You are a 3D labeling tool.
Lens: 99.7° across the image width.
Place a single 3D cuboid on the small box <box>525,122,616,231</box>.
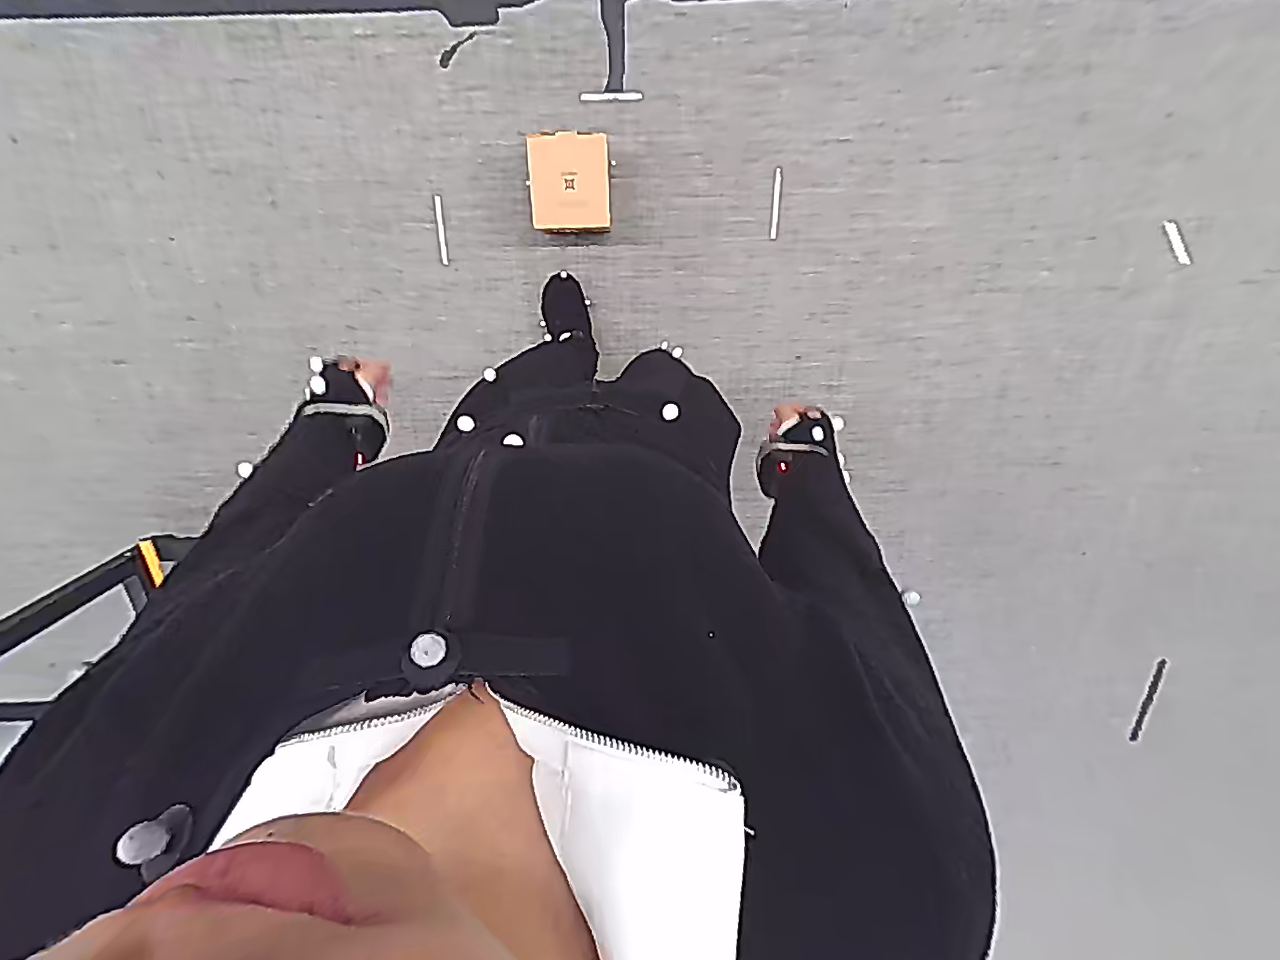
[{"bbox_3d":[-0.135,-0.614,1.110,0.168,0.176,0.179,-2,113,0],"label":"small box"}]
